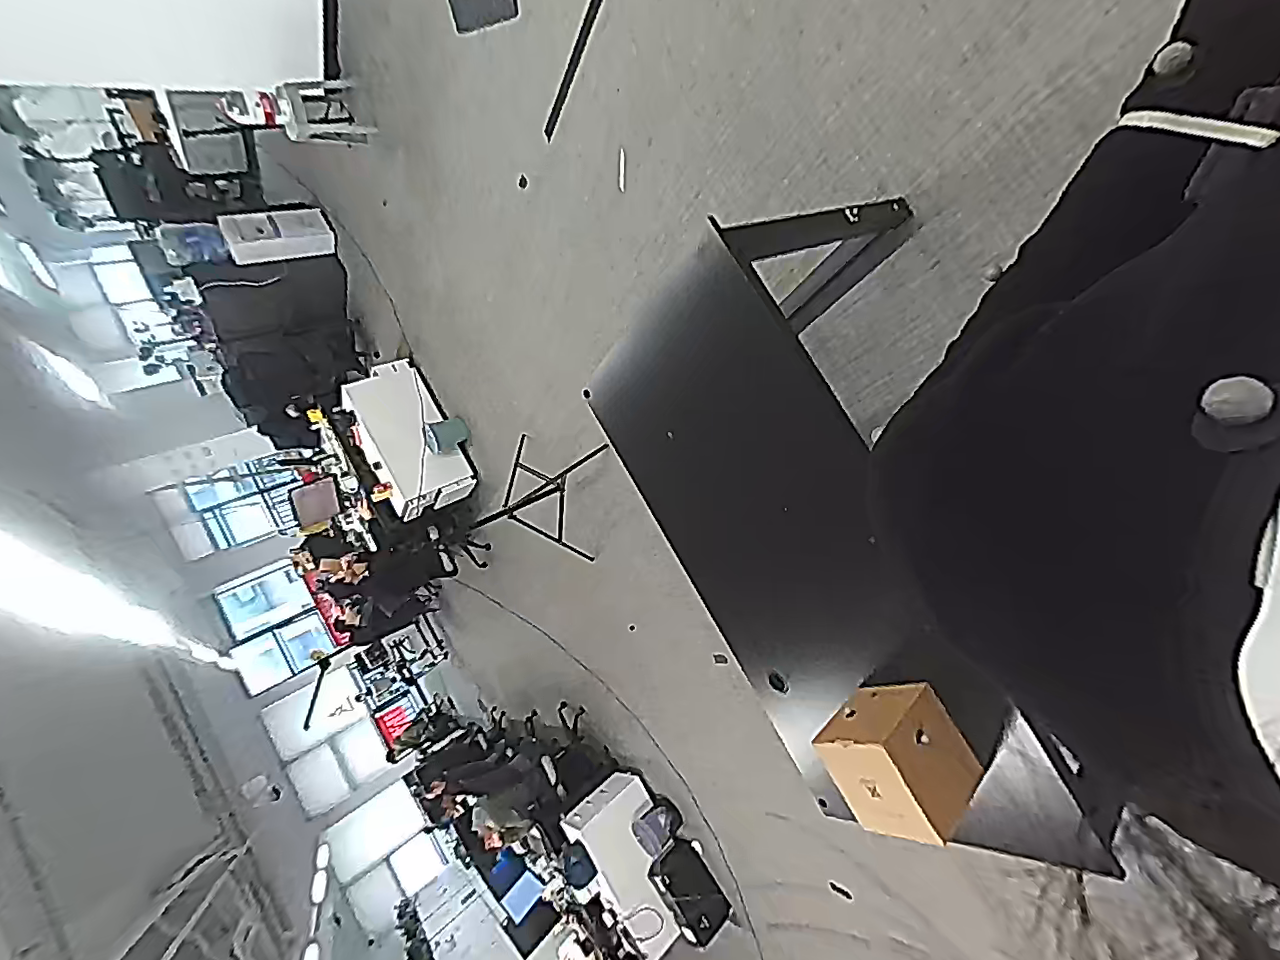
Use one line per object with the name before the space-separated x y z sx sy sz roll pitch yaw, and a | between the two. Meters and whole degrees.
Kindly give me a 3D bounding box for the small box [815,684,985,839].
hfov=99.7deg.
small box | 0.452 0.475 0.944 0.179 0.176 0.168 58 147 7
